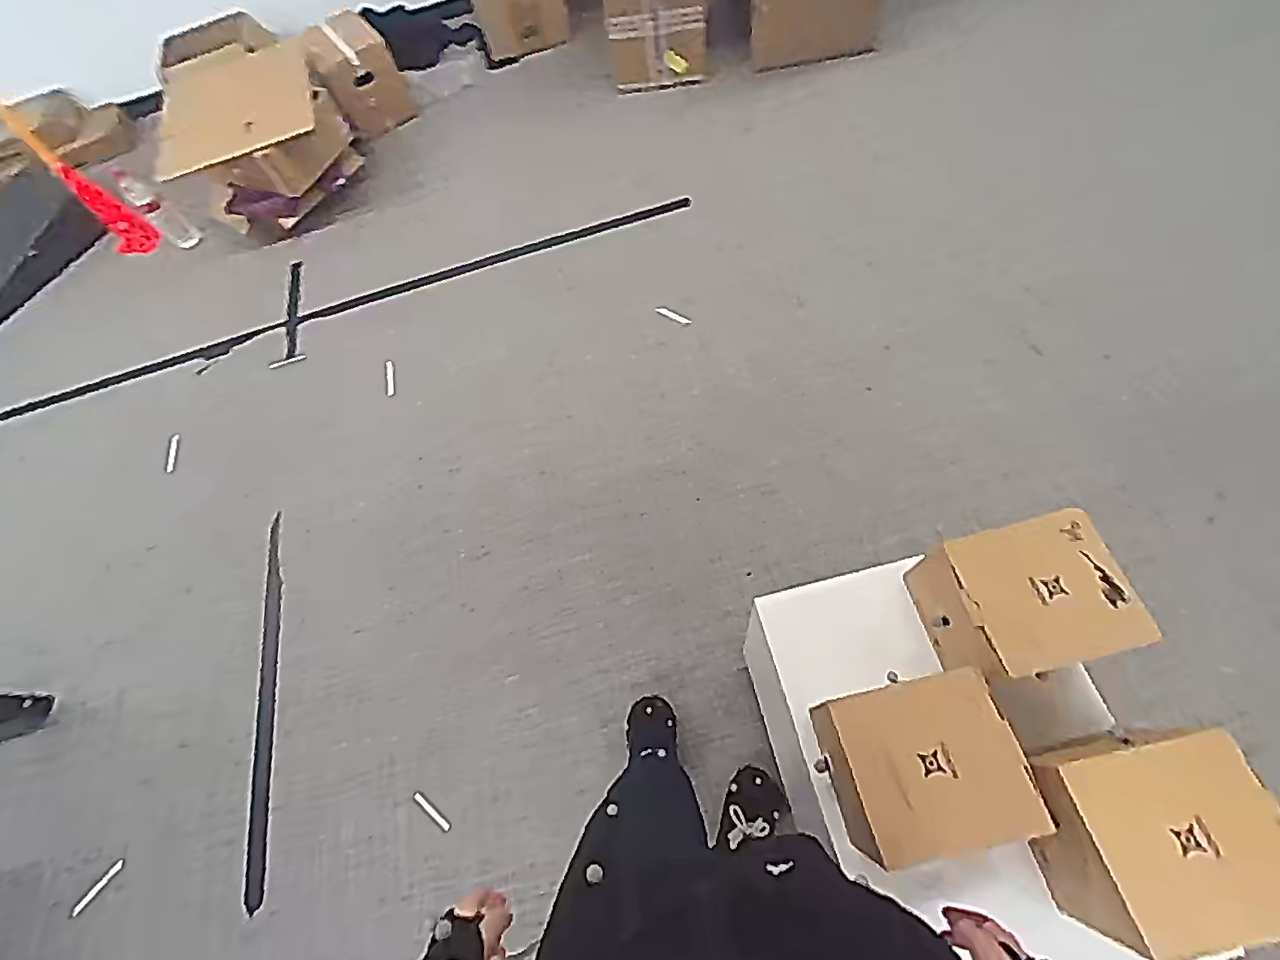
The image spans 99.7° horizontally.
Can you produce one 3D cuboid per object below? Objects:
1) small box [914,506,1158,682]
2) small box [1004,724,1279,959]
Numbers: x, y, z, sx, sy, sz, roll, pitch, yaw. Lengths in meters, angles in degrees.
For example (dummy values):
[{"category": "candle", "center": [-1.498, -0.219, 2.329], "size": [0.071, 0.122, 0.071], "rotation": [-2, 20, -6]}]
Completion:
[{"category": "small box", "center": [0.480, 0.156, 0.698], "size": [0.179, 0.176, 0.168], "rotation": [-15, 65, 4]}, {"category": "small box", "center": [0.538, 0.375, 0.588], "size": [0.179, 0.176, 0.168], "rotation": [-15, 63, 2]}]
